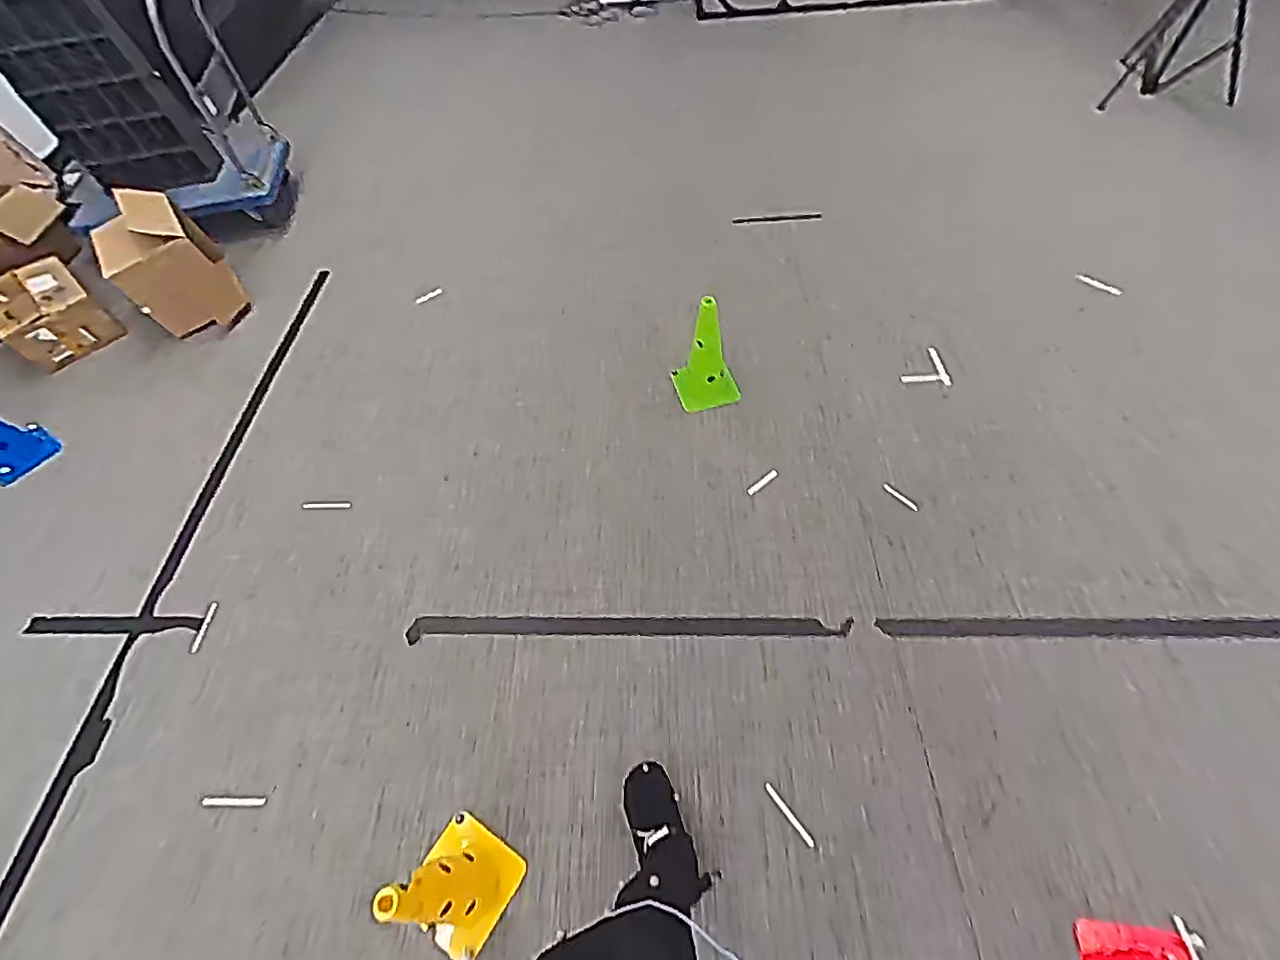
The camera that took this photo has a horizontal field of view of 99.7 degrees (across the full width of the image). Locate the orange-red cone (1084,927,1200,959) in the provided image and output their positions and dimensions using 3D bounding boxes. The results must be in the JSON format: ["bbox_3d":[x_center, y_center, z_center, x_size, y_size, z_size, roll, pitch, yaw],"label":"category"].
[{"bbox_3d":[0.906,0.840,0.821,0.199,0.360,0.198,4,56,9],"label":"orange-red cone"}]

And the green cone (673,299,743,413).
[{"bbox_3d":[0.223,-0.414,1.723,0.202,0.368,0.200,-14,57,-6],"label":"green cone"}]
